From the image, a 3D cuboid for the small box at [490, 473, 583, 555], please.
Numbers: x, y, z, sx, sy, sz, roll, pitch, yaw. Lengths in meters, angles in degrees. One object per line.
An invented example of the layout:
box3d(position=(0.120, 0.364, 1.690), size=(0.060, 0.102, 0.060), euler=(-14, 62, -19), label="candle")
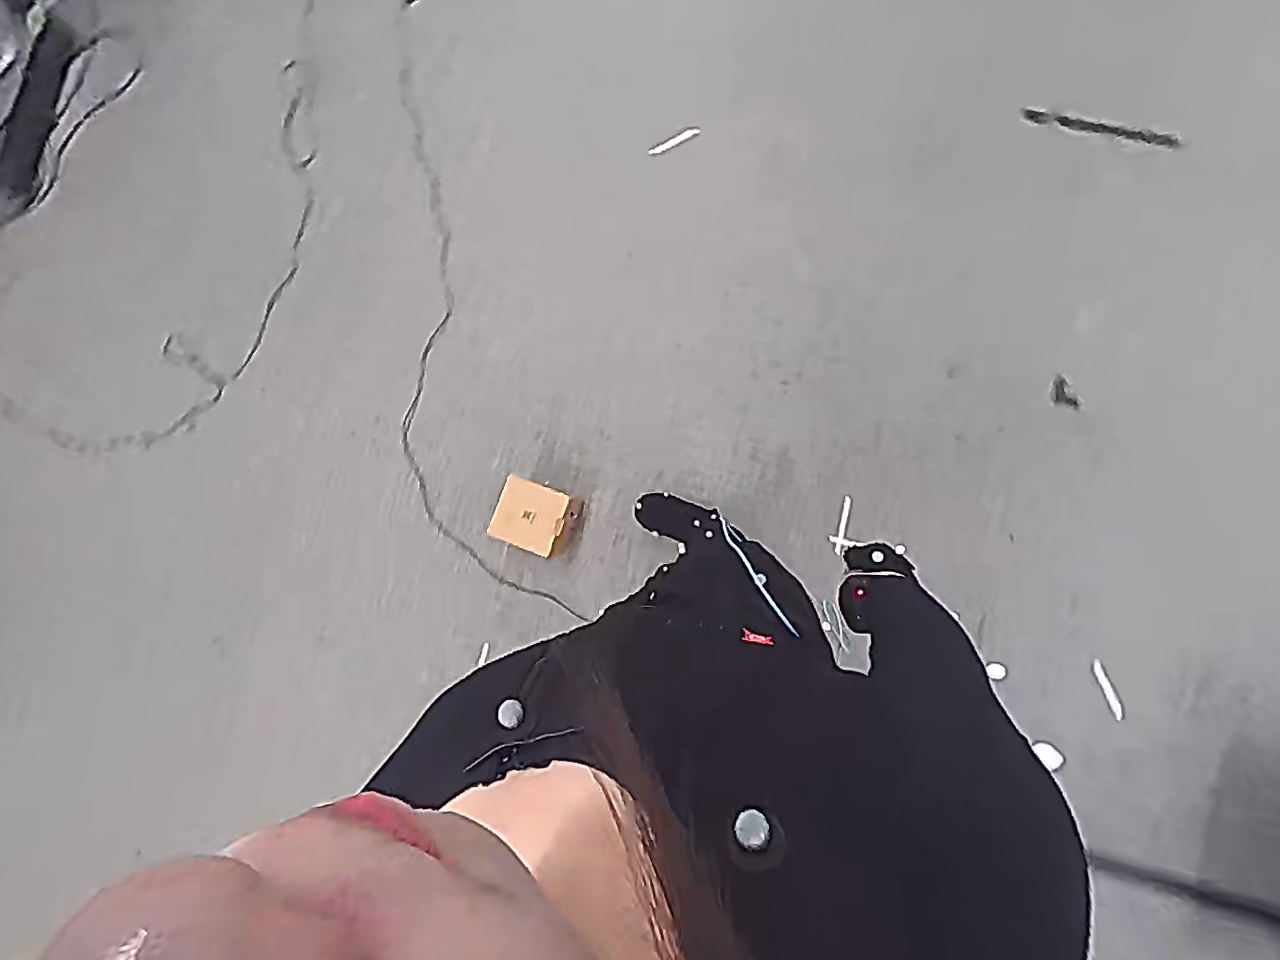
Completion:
box3d(position=(-0.269, 0.091, 1.458), size=(0.179, 0.176, 0.168), euler=(20, 88, 7), label="small box")
